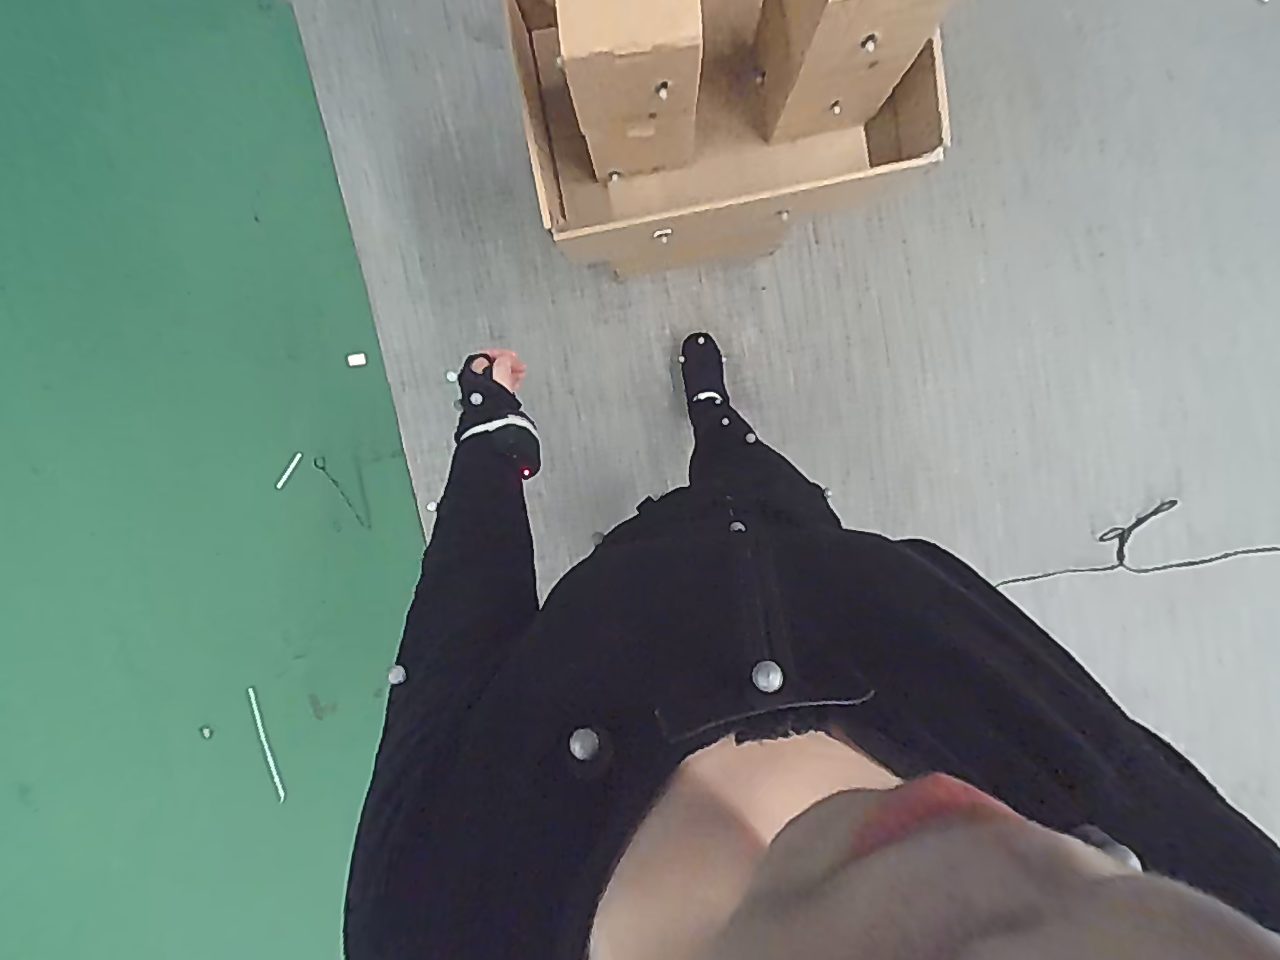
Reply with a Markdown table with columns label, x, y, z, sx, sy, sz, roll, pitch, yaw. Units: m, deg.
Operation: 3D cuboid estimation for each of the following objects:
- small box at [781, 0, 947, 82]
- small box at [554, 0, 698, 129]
| label | x | y | z | sx | sy | sz | roll | pitch | yaw |
| --- | --- | --- | --- | --- | --- | --- | --- | --- | --- |
| small box | 0.276 | -0.631 | 0.666 | 0.168 | 0.176 | 0.179 | -9 | 96 | 4 |
| small box | -0.015 | -0.579 | 0.691 | 0.168 | 0.176 | 0.179 | -5 | 95 | 2 |
